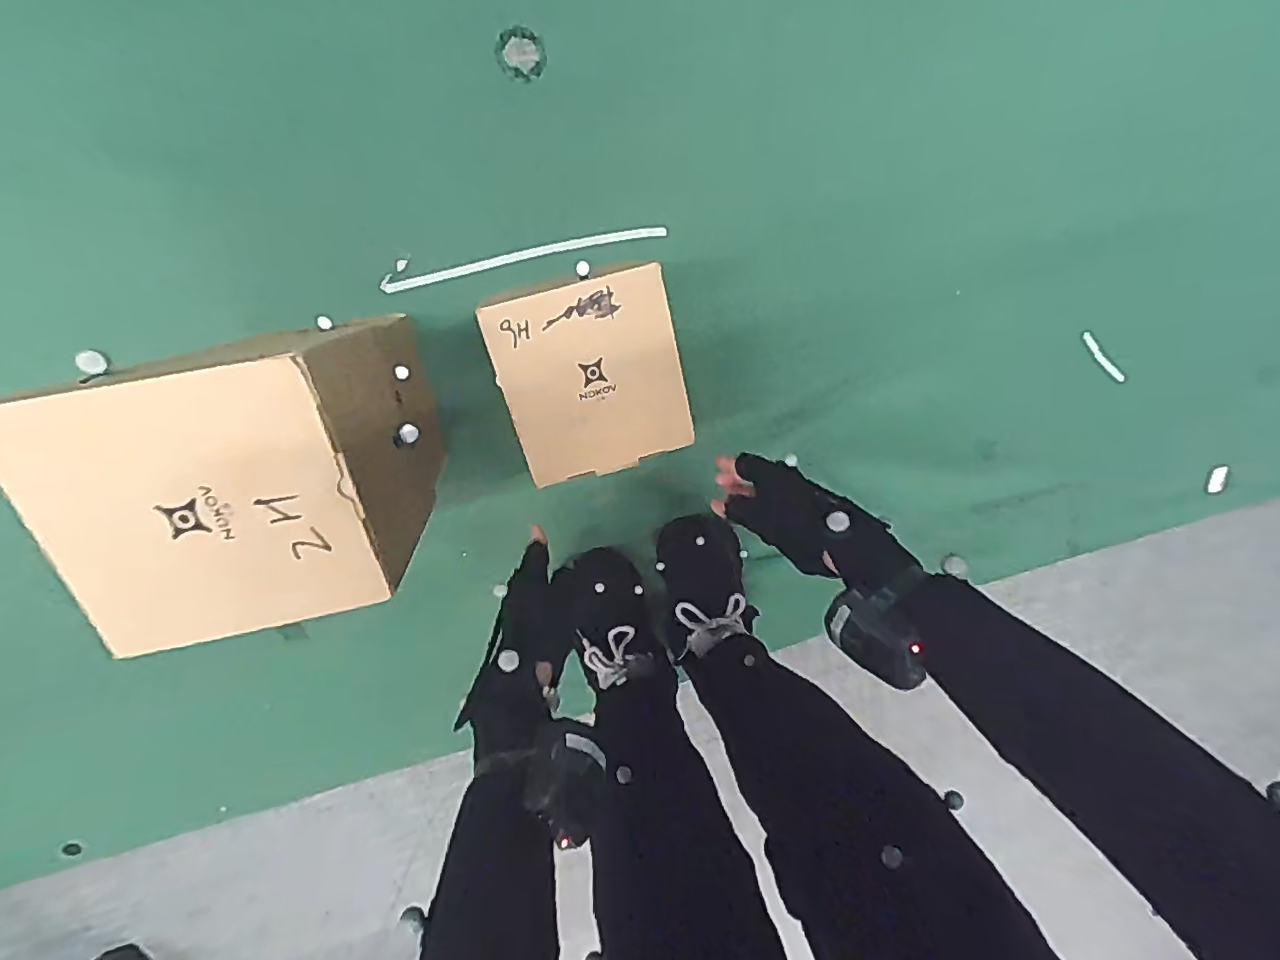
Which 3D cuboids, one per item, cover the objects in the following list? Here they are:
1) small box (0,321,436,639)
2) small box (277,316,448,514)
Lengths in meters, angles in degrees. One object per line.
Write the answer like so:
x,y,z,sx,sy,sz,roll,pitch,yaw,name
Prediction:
-0.273,-0.016,0.398,0.179,0.176,0.168,-11,113,-5,small box
-0.309,-0.063,0.553,0.168,0.176,0.179,-10,112,-6,small box
